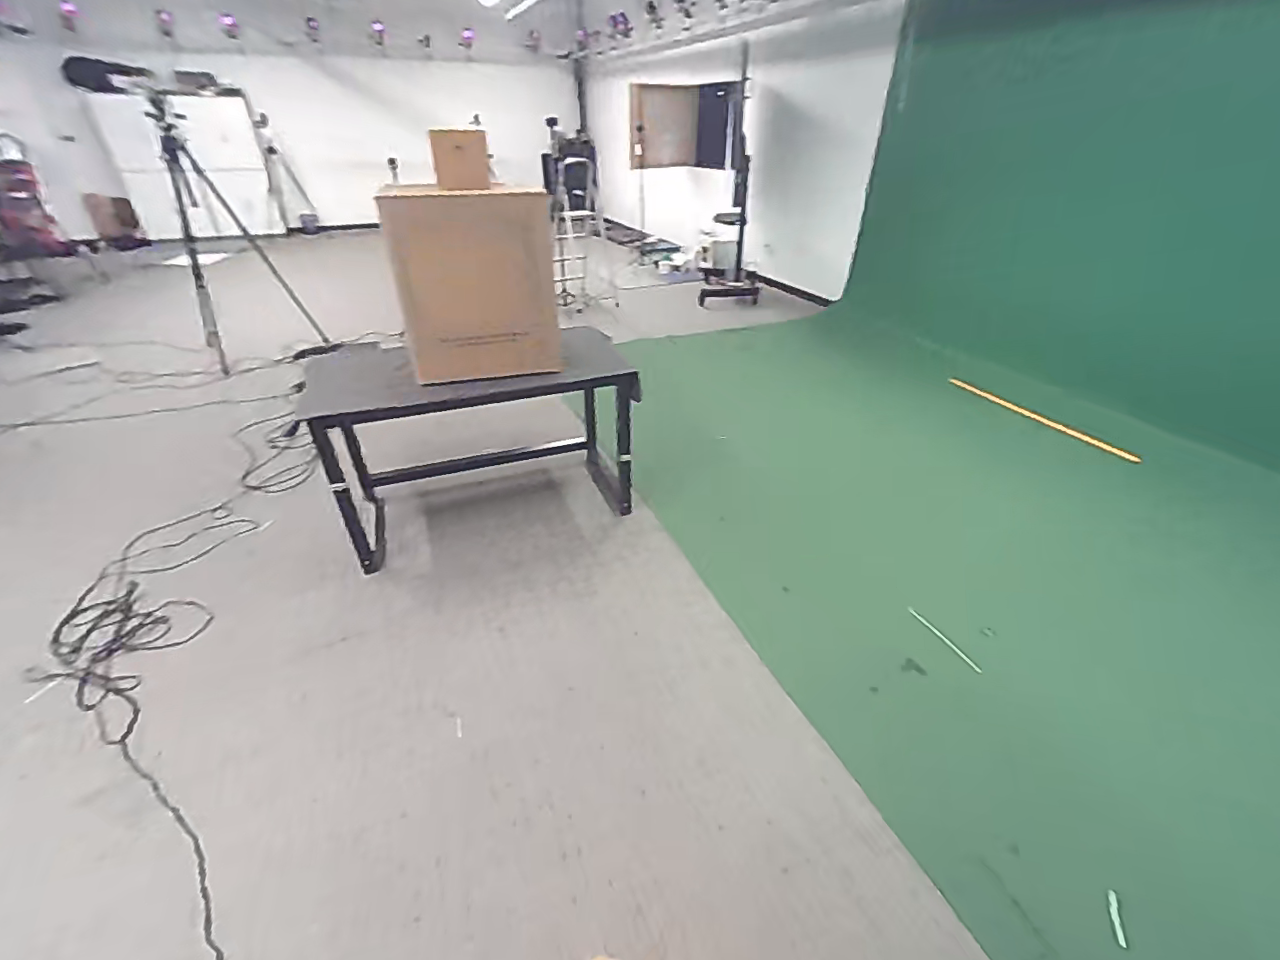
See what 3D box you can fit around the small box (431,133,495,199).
[{"bbox_3d":[-0.572,-1.027,1.766,0.179,0.176,0.168,-8,36,-12],"label":"small box"}]
